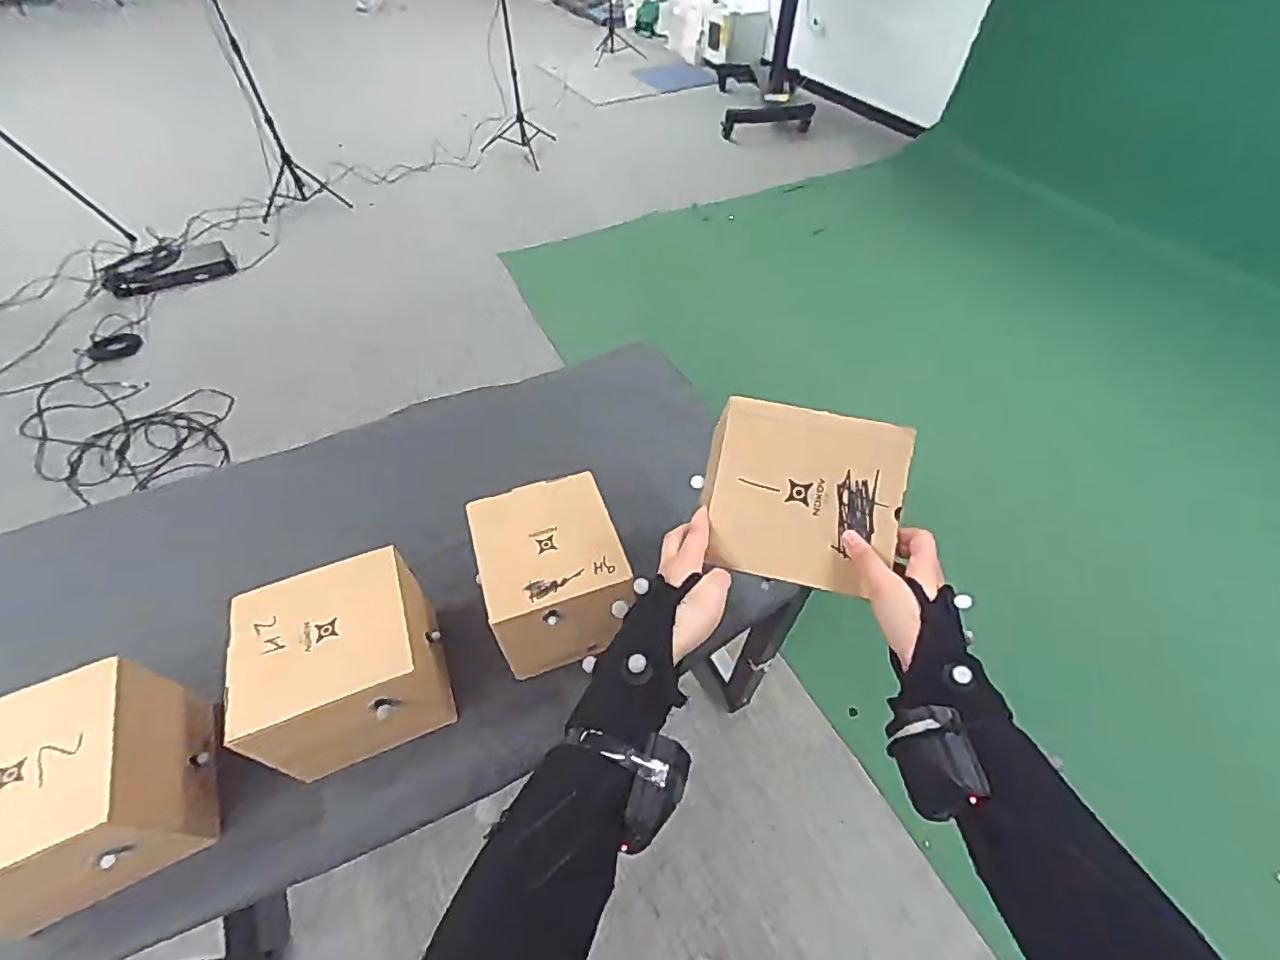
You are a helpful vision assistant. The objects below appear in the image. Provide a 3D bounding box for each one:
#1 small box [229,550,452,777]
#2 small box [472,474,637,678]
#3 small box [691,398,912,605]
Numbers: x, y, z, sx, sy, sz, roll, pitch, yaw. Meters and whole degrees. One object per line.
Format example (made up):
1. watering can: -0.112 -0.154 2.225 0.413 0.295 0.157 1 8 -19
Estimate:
1. small box: -0.332 0.214 0.630 0.179 0.176 0.168 -19 52 -14
2. small box: -0.108 0.125 0.702 0.168 0.176 0.179 -16 51 -12
3. small box: 0.157 0.026 0.583 0.179 0.176 0.168 12 84 4
